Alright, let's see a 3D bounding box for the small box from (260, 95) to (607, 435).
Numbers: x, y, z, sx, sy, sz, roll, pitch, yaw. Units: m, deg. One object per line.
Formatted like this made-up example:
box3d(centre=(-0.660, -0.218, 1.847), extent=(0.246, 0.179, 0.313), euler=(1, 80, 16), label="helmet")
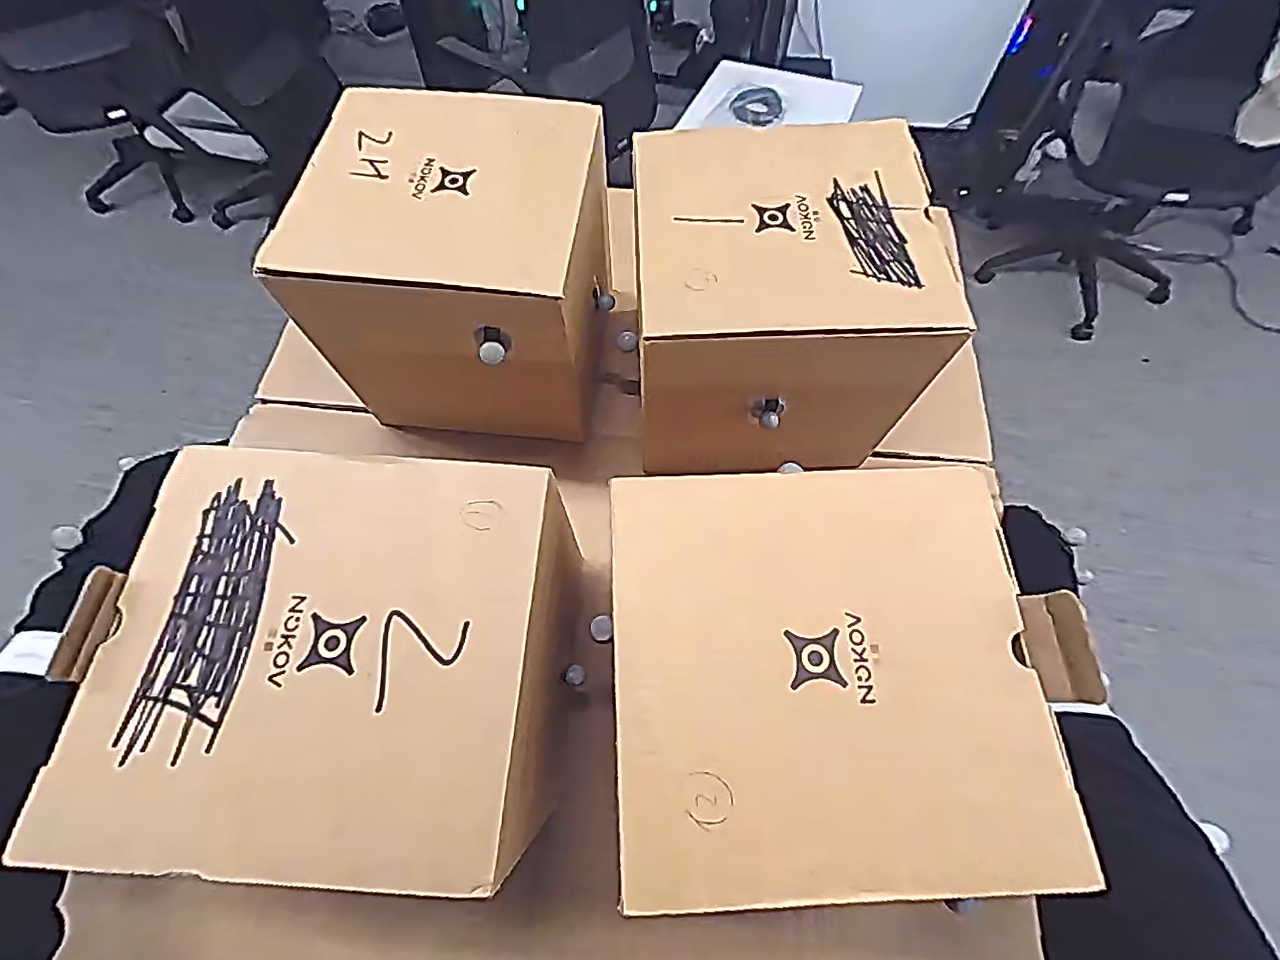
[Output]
box3d(centre=(-0.123, -0.148, 0.410), extent=(0.179, 0.176, 0.168), euler=(6, 66, 3), label="small box")
